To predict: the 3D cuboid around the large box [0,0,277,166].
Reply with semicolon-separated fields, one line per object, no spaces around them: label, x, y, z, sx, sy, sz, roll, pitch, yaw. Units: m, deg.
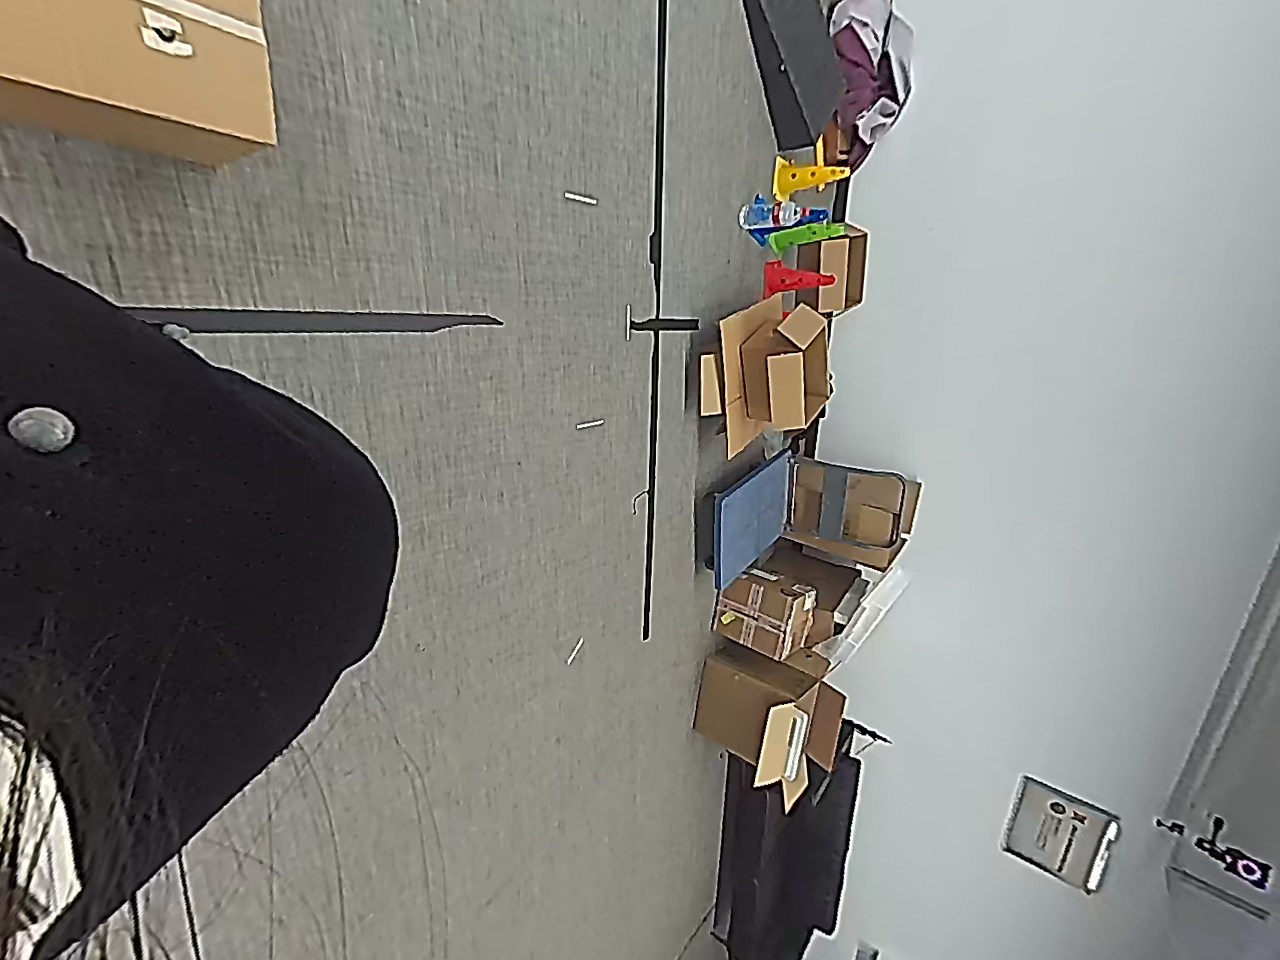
large box;-0.865;-0.721;0.833;0.408;0.320;0.320;-17;116;-51
